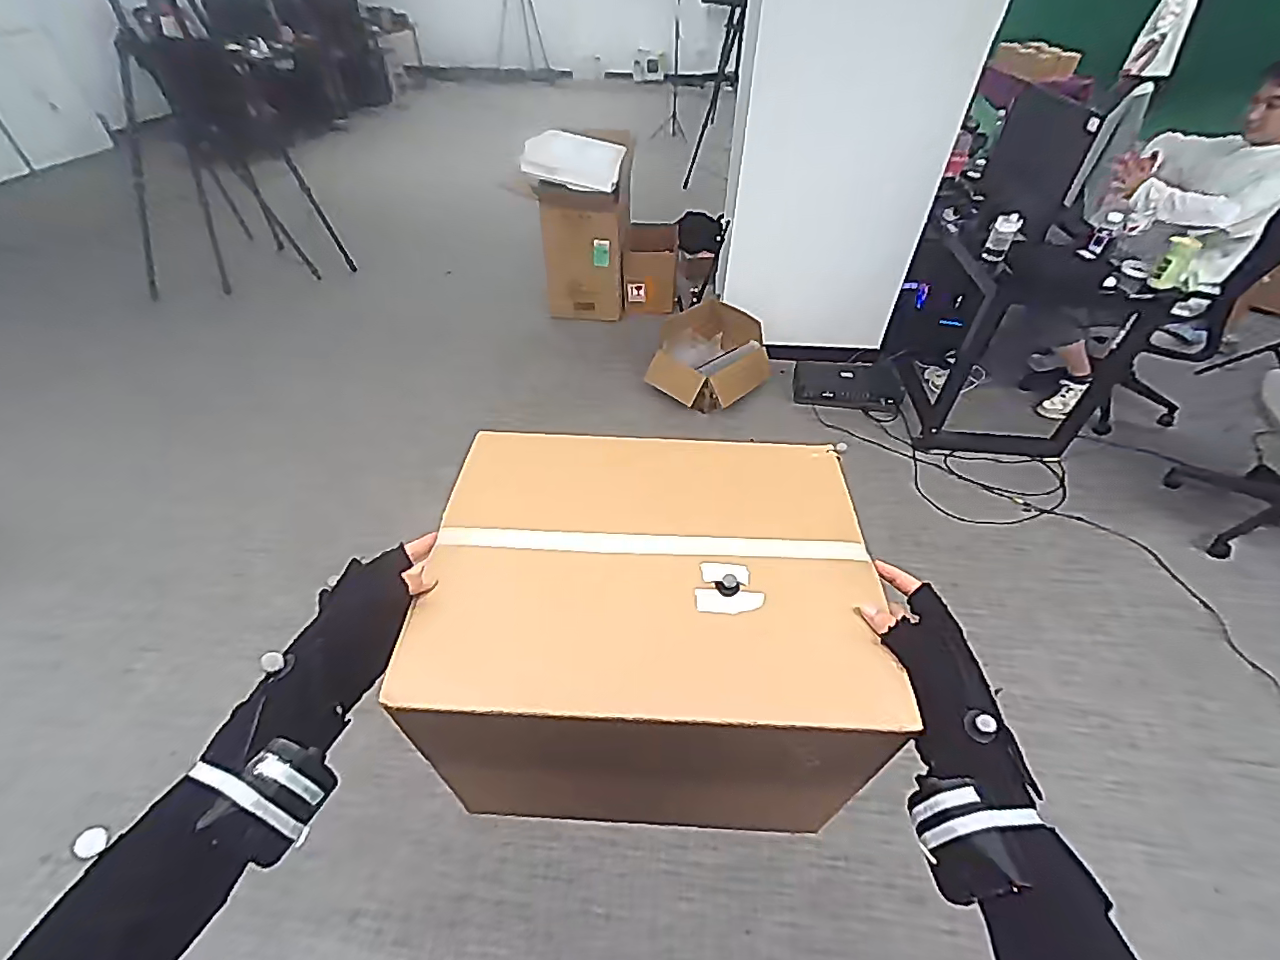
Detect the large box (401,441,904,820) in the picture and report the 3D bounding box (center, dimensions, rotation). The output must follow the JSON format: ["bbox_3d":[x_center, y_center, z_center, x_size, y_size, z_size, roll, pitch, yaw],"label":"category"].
[{"bbox_3d":[0.009,0.175,0.628,0.408,0.320,0.320,3,46,1],"label":"large box"}]
